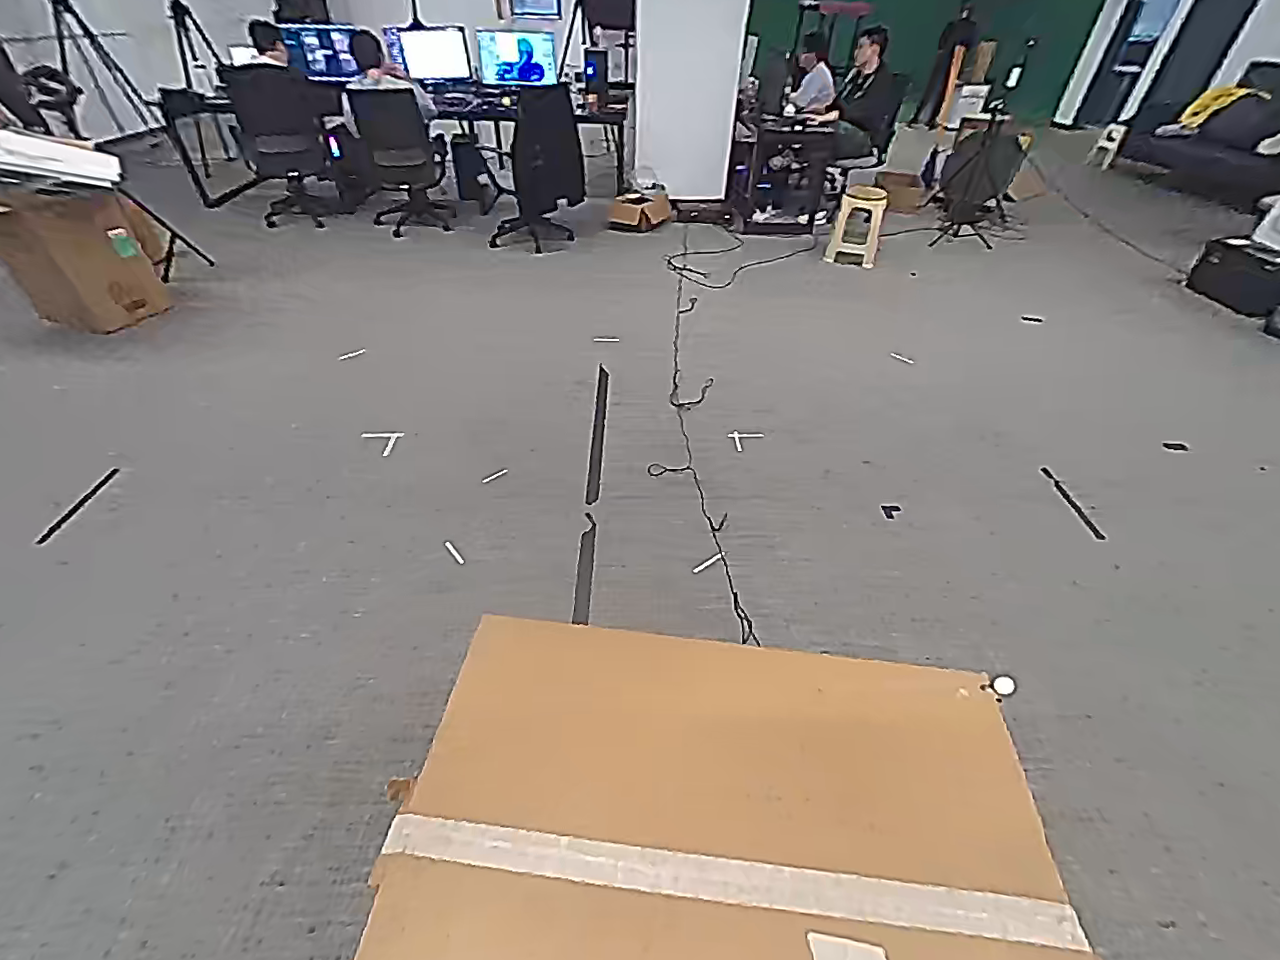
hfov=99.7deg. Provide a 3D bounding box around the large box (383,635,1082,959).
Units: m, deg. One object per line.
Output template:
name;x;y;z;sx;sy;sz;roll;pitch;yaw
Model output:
large box;0.051;0.357;0.432;0.408;0.320;0.320;6;45;3
